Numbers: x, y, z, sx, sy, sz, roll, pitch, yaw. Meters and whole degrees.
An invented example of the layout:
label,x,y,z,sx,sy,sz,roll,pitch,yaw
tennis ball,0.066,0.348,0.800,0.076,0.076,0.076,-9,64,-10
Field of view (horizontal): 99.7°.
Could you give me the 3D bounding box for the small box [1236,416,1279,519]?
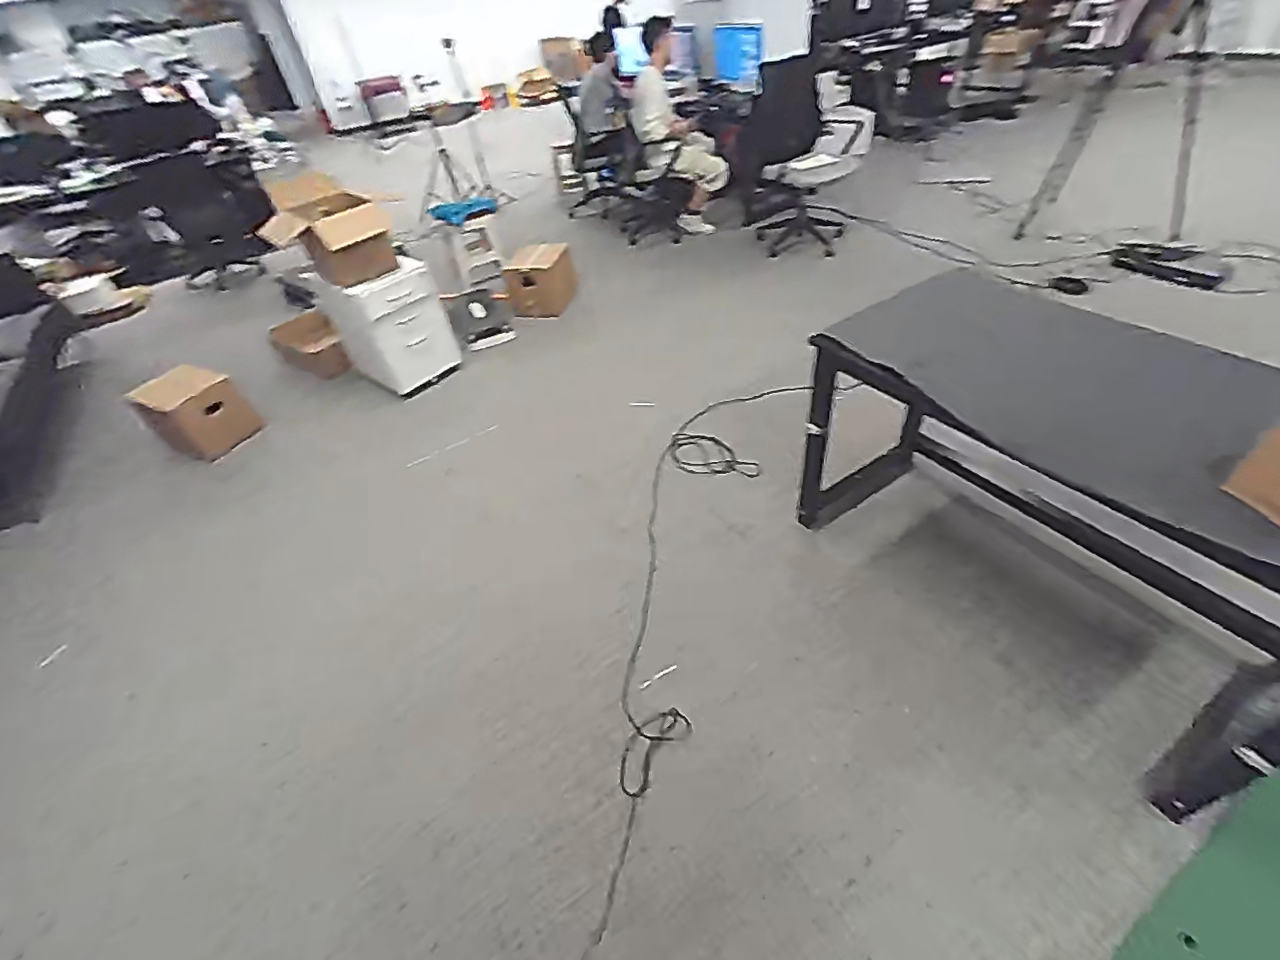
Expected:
label,x,y,z,sx,sy,sz,roll,pitch,yaw
small box,1.103,-0.015,0.834,0.179,0.176,0.168,-11,42,-5
